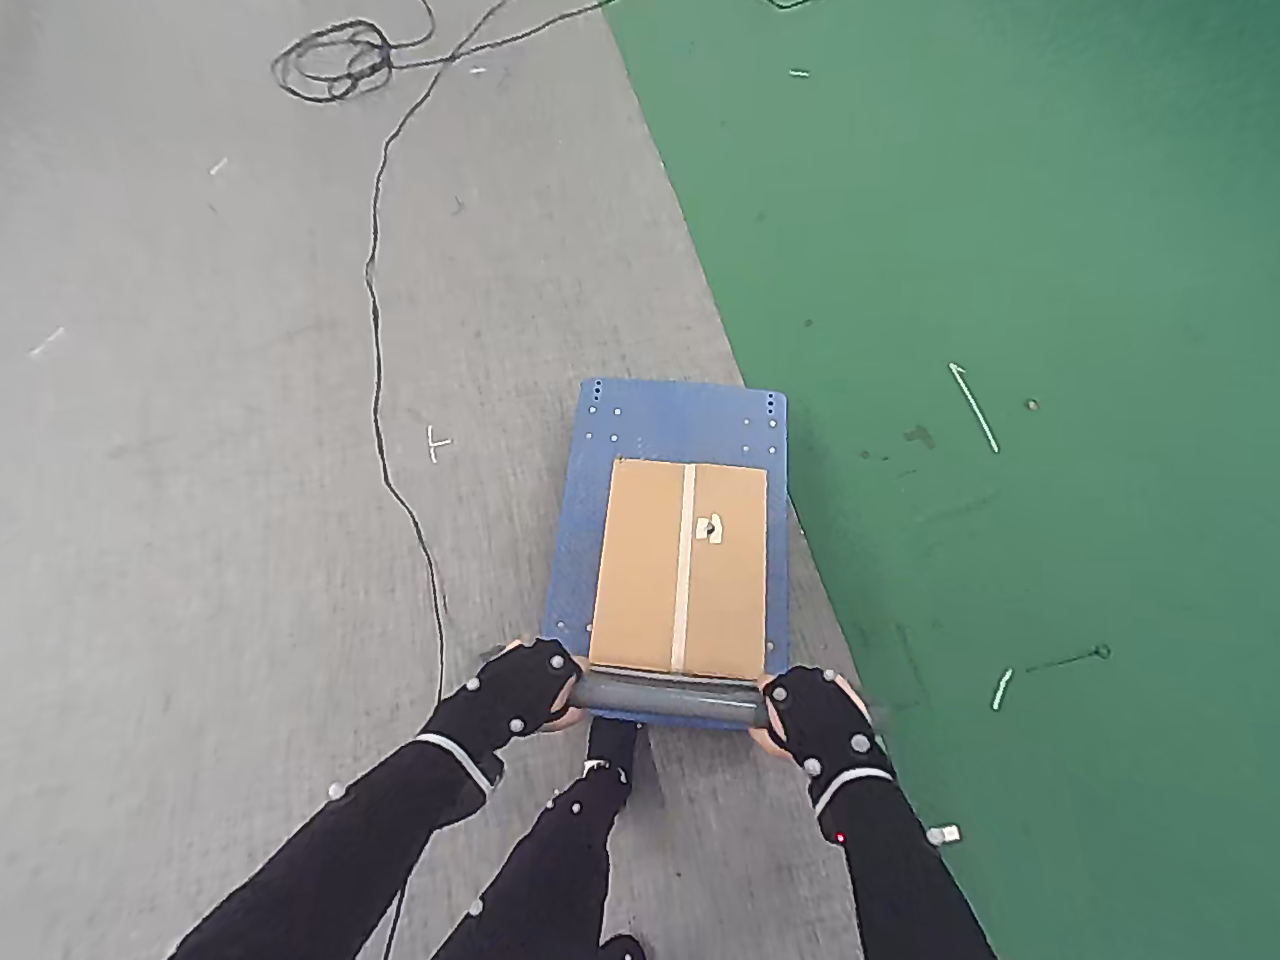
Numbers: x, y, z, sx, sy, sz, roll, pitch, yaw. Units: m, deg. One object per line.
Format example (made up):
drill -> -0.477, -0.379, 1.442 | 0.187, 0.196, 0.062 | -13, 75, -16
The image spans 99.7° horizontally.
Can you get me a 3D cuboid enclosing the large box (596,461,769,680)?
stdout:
large box -> 0.090, 0.209, 1.170 | 0.320, 0.320, 0.408 | 4, 68, 2
